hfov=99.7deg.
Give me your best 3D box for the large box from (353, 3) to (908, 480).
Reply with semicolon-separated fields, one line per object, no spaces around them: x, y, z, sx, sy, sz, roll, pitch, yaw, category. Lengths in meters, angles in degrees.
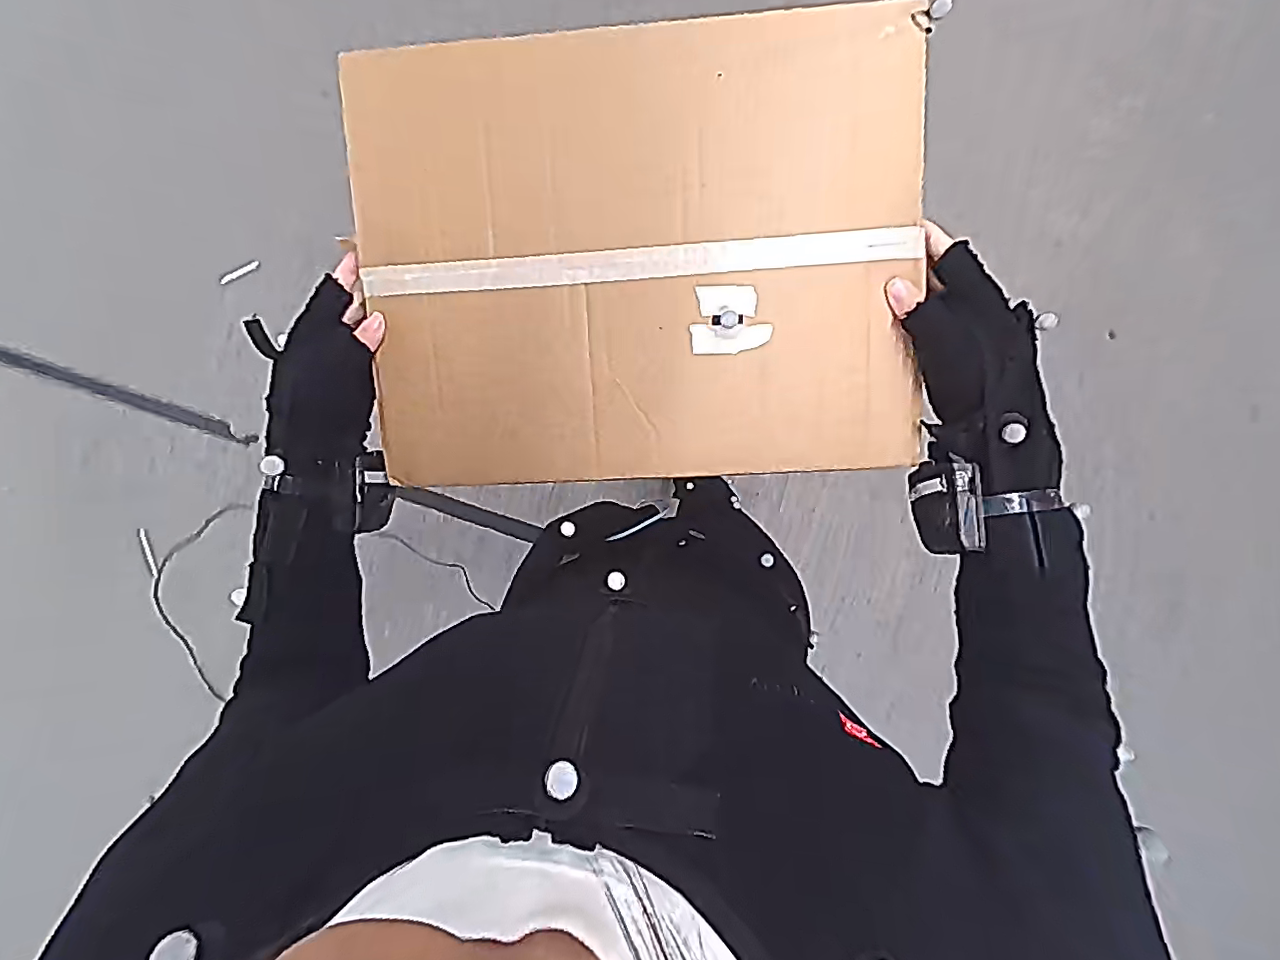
0.001;-0.185;0.553;0.408;0.320;0.320;-4;98;3;large box
